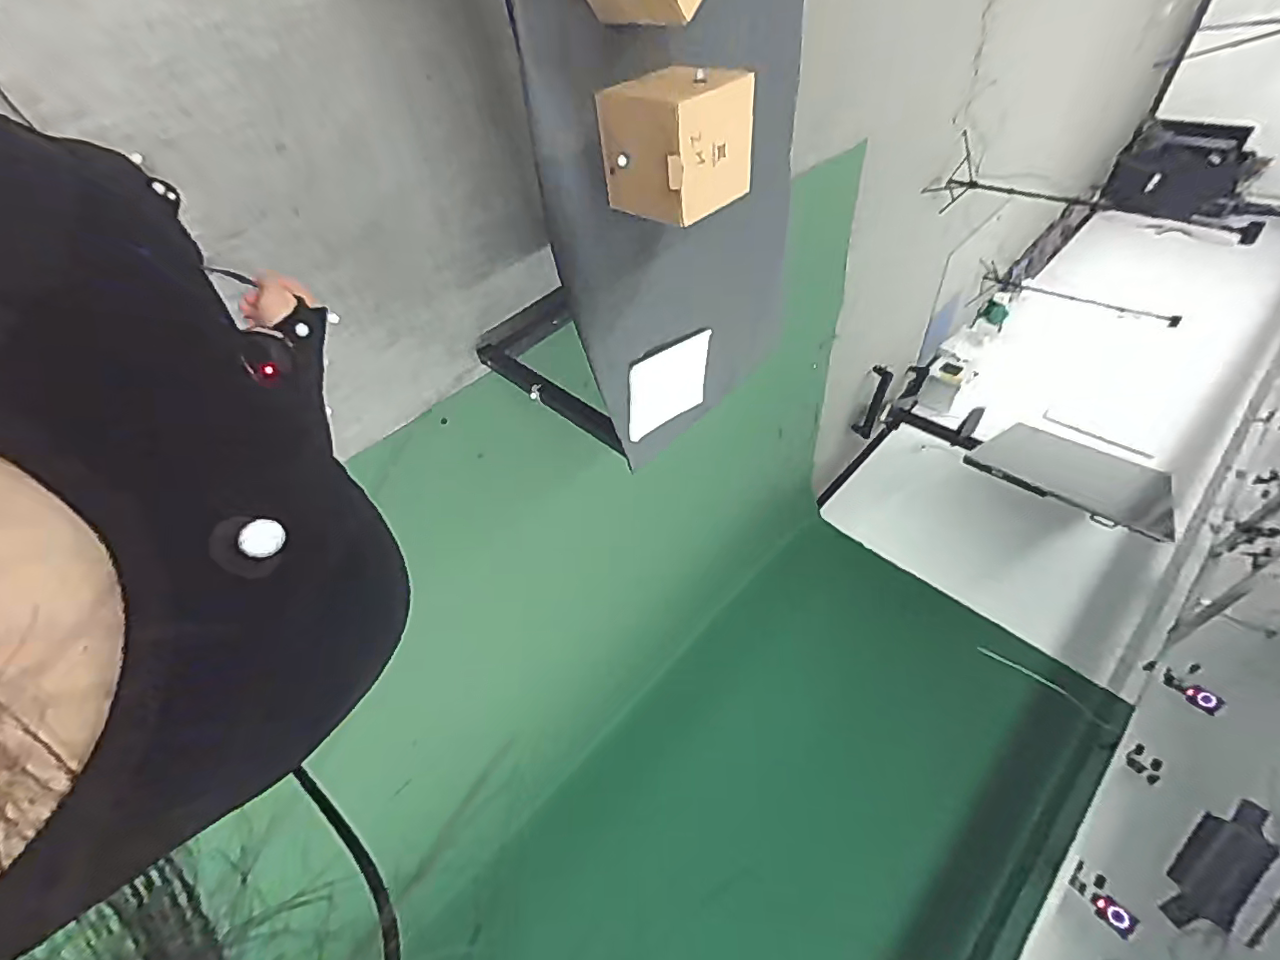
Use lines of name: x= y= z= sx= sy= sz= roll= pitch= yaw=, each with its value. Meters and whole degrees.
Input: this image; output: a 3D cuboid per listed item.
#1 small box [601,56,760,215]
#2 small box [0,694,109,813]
small box: x=0.064 y=-0.545 z=0.847 sx=0.179 sy=0.176 sz=0.168 roll=-38 pitch=143 yaw=-25
small box: x=-1.422 y=0.642 z=1.277 sx=0.168 sy=0.176 sz=0.179 roll=-39 pitch=144 yaw=-20
